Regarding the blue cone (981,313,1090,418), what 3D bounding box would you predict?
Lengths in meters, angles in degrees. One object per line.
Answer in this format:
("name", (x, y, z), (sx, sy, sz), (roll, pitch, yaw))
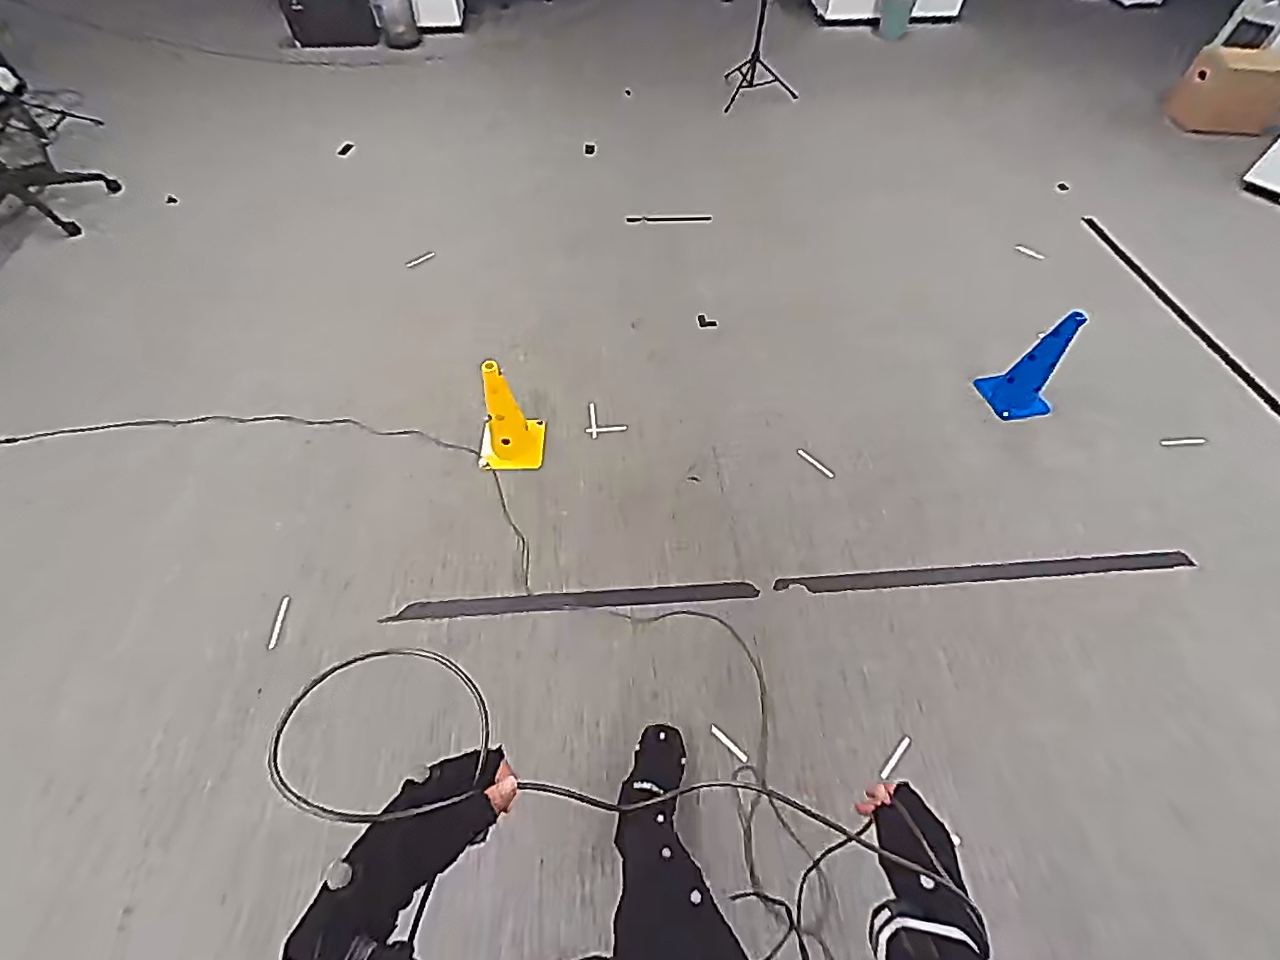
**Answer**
("blue cone", (1.326, -0.394, 1.775), (0.193, 0.380, 0.192), (-8, 57, -6))
